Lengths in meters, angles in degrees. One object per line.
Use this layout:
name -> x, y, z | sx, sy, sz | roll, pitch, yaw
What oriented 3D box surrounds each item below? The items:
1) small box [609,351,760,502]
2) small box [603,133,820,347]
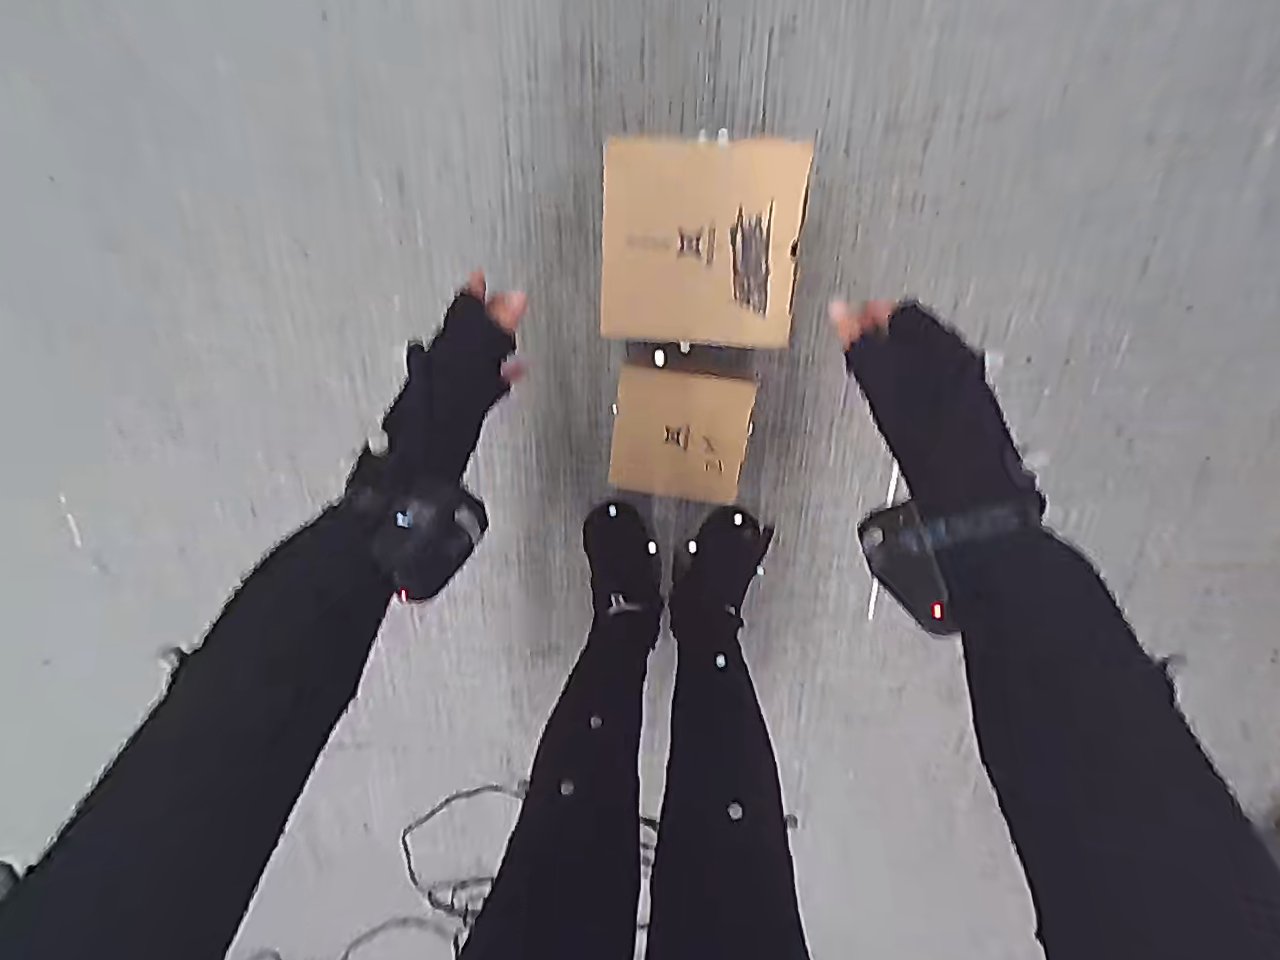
small box -> 0.063, -0.085, 0.771 | 0.179, 0.176, 0.168 | 9, 111, 4
small box -> 0.064, -0.232, 0.544 | 0.179, 0.176, 0.168 | 5, 110, 5
